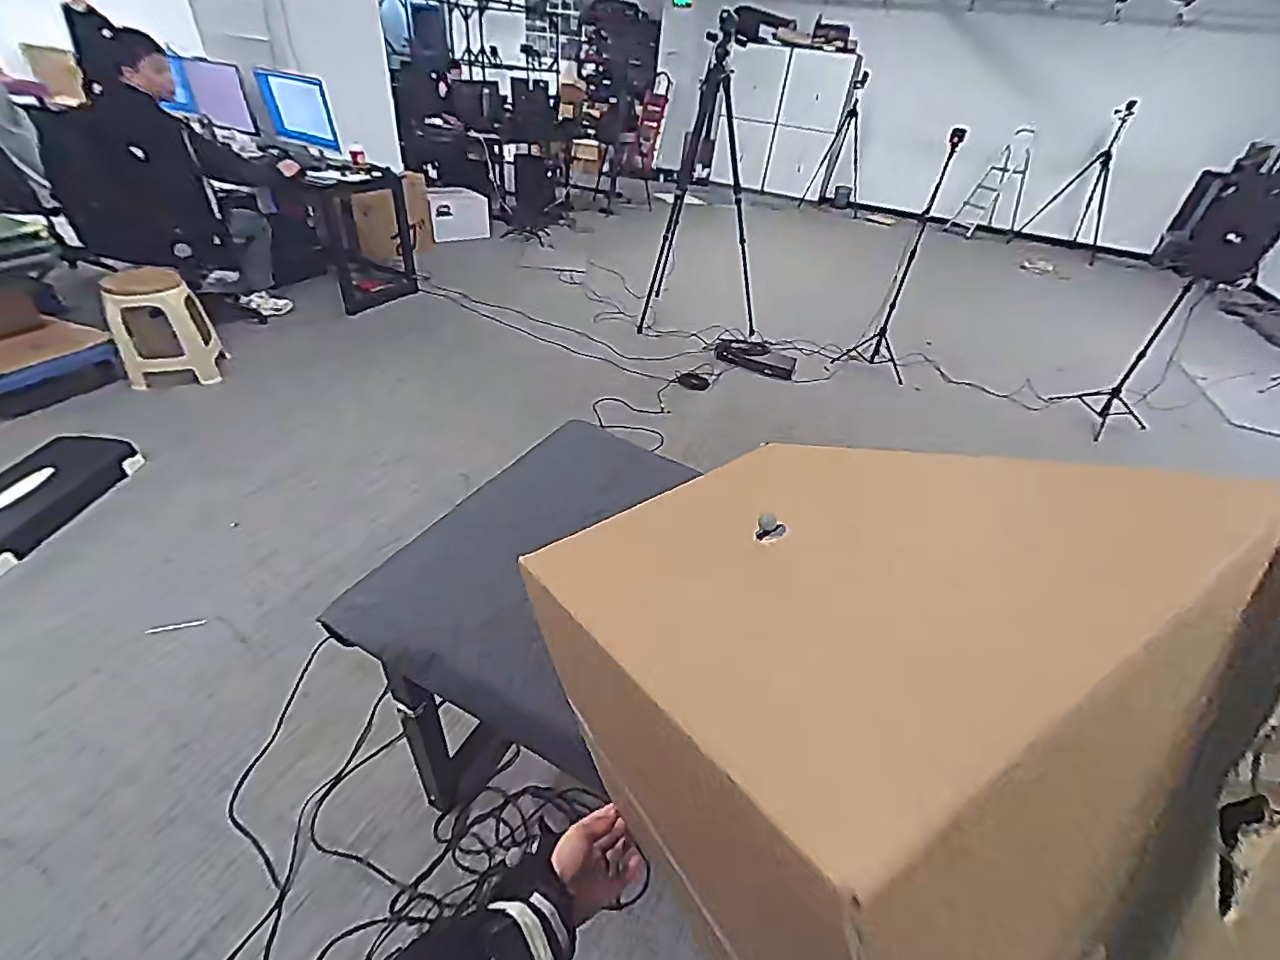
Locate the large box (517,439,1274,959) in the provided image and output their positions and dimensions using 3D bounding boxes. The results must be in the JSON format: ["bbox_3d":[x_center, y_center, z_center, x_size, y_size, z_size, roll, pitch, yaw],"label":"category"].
[{"bbox_3d":[0.144,0.174,0.424,0.320,0.320,0.408,-25,17,-23],"label":"large box"}]
